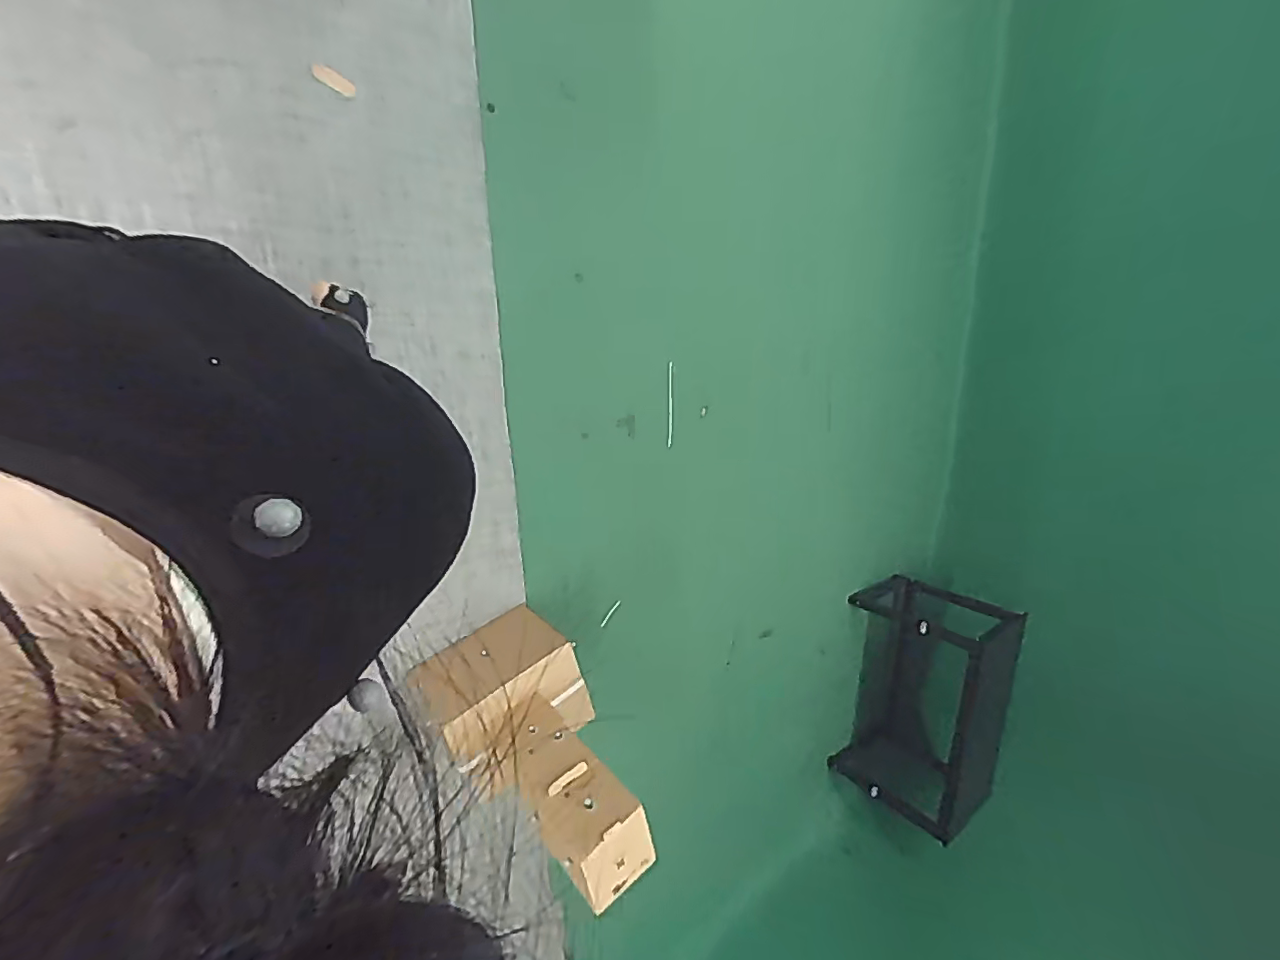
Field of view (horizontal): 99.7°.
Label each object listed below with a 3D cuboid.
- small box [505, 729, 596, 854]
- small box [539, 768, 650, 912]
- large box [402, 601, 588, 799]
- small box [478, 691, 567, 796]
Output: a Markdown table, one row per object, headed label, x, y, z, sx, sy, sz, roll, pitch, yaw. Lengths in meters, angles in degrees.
| label | x | y | z | sx | sy | sz | roll | pitch | yaw |
| --- | --- | --- | --- | --- | --- | --- | --- | --- | --- |
| small box | -0.210 | 0.744 | 1.319 | 0.168 | 0.176 | 0.179 | -23 | 114 | -33 |
| small box | -0.105 | 0.778 | 1.197 | 0.168 | 0.176 | 0.179 | -24 | 114 | -32 |
| large box | -0.435 | 0.640 | 1.645 | 0.408 | 0.320 | 0.320 | -29 | 120 | -32 |
| small box | -0.304 | 0.703 | 1.447 | 0.179 | 0.176 | 0.168 | -24 | 115 | -32 |
